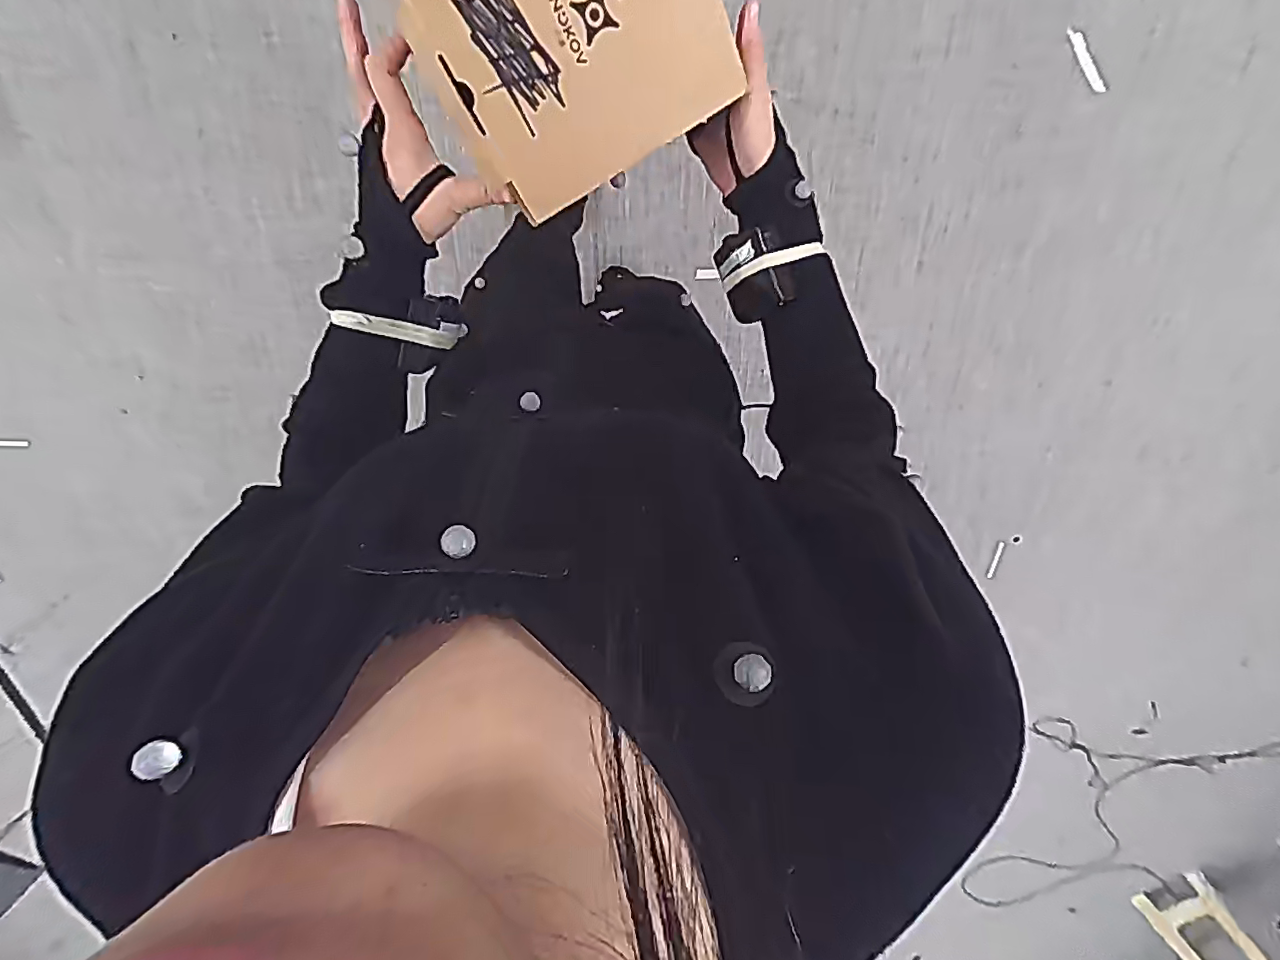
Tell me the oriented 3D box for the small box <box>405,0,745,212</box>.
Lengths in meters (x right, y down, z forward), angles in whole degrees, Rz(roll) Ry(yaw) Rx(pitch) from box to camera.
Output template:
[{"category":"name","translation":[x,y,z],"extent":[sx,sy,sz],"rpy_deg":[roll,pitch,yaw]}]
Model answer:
[{"category":"small box","translation":[-0.056,-0.322,0.392],"extent":[0.179,0.176,0.168],"rpy_deg":[-31,125,2]}]
